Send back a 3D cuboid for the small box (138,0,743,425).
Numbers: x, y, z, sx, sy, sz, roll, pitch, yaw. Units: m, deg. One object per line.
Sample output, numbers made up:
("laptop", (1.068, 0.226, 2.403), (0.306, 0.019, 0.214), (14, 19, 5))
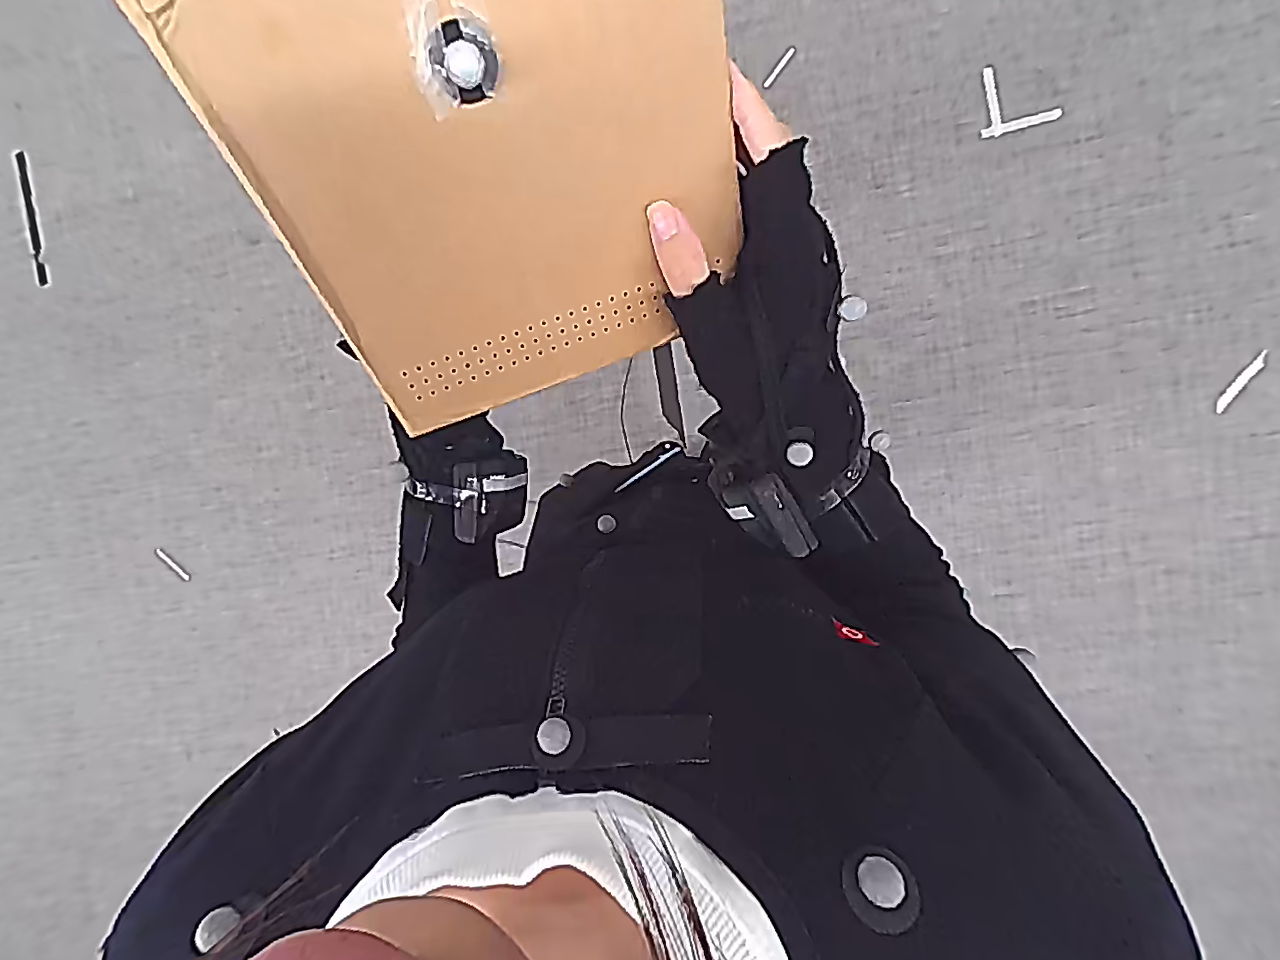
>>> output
("small box", (-0.064, -0.154, 0.267), (0.179, 0.168, 0.176), (-21, 134, -4))
